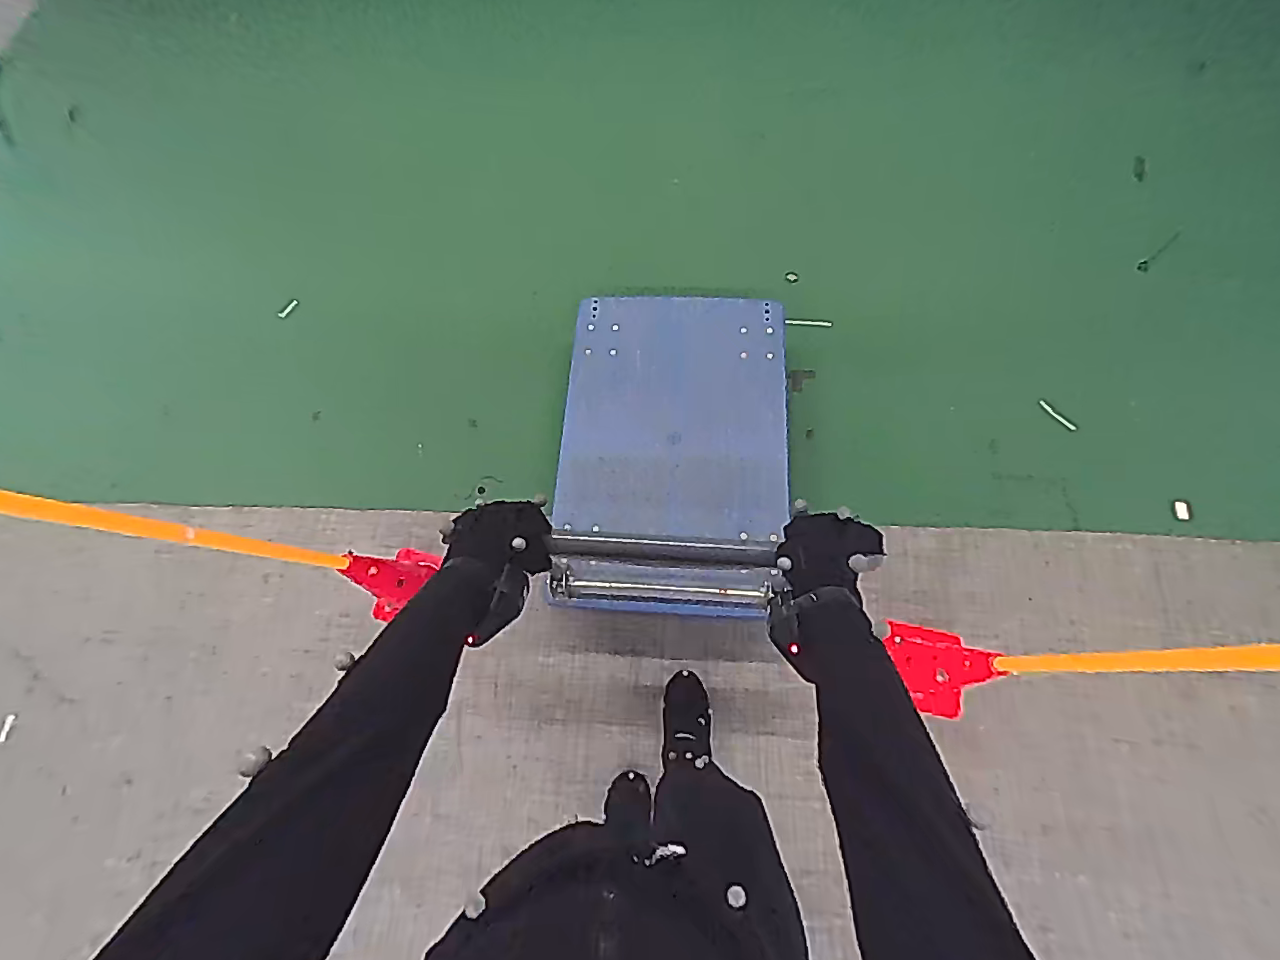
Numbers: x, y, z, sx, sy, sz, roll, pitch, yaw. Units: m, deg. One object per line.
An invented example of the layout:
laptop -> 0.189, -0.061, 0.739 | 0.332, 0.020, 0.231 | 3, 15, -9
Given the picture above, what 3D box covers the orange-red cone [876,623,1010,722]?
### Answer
orange-red cone -> 0.670, 0.403, 1.151 | 0.198, 0.360, 0.199 | 12, 71, 8
